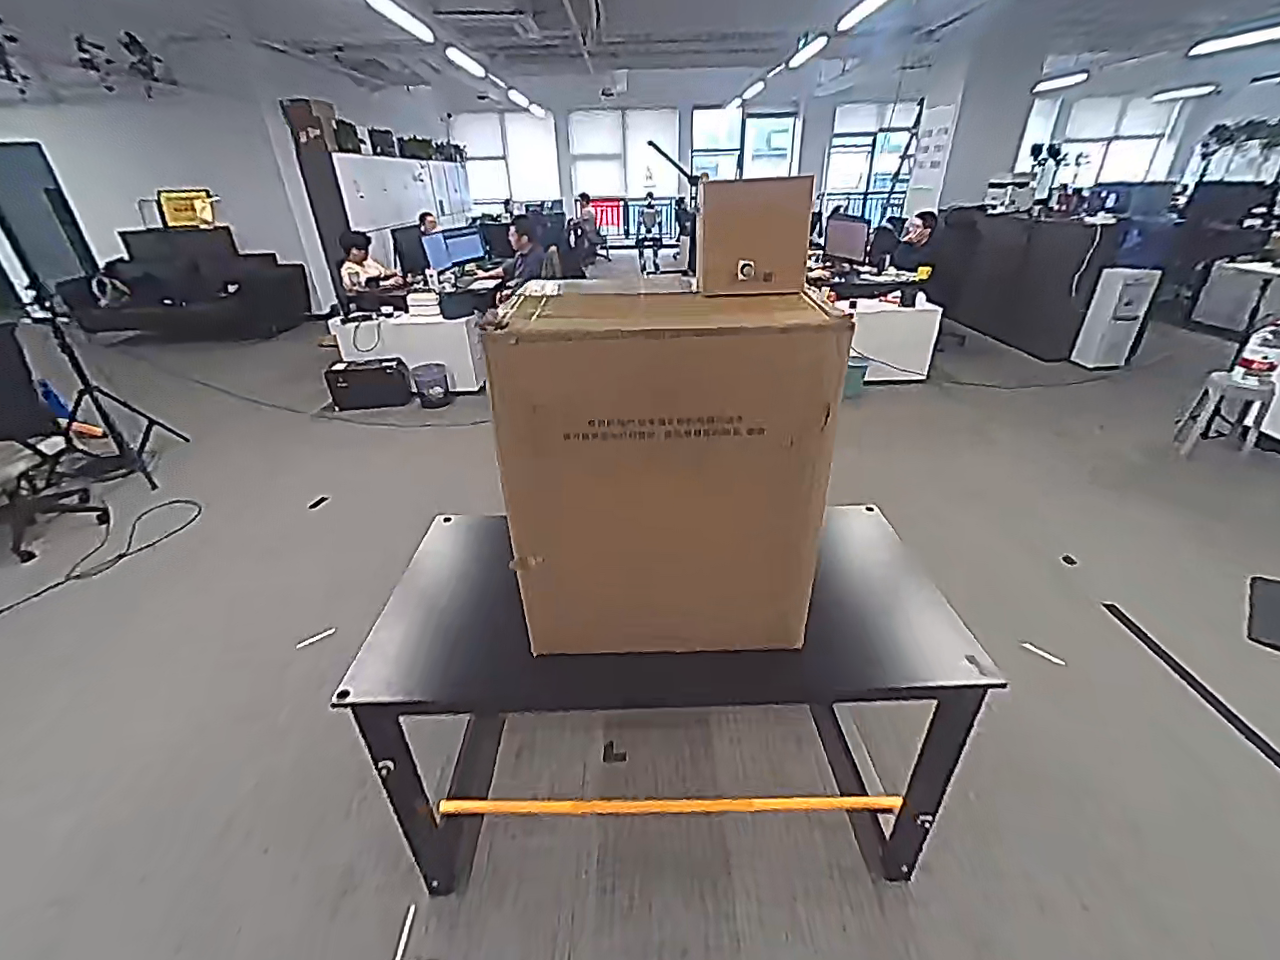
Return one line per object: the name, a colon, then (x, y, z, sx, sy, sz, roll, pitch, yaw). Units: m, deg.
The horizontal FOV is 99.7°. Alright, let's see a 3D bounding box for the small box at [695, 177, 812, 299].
small box: (0.178, -0.403, 0.904, 0.168, 0.176, 0.179, -3, 28, 3)
